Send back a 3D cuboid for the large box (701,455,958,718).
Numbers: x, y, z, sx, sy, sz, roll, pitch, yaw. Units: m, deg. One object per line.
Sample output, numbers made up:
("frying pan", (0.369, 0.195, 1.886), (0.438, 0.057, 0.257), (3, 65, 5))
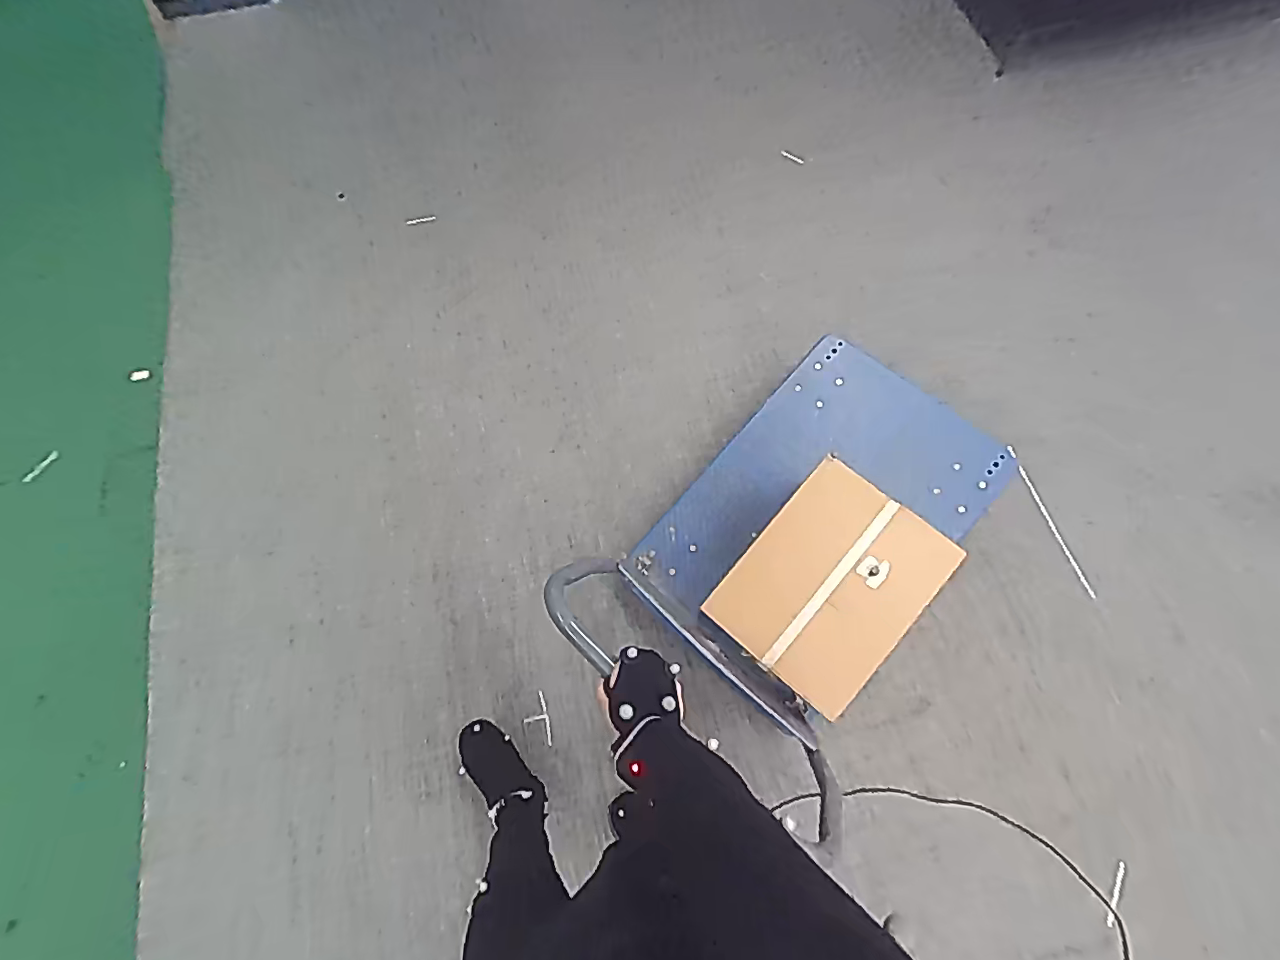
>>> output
("large box", (0.374, 0.225, 1.169), (0.320, 0.320, 0.408), (40, 85, 14))
